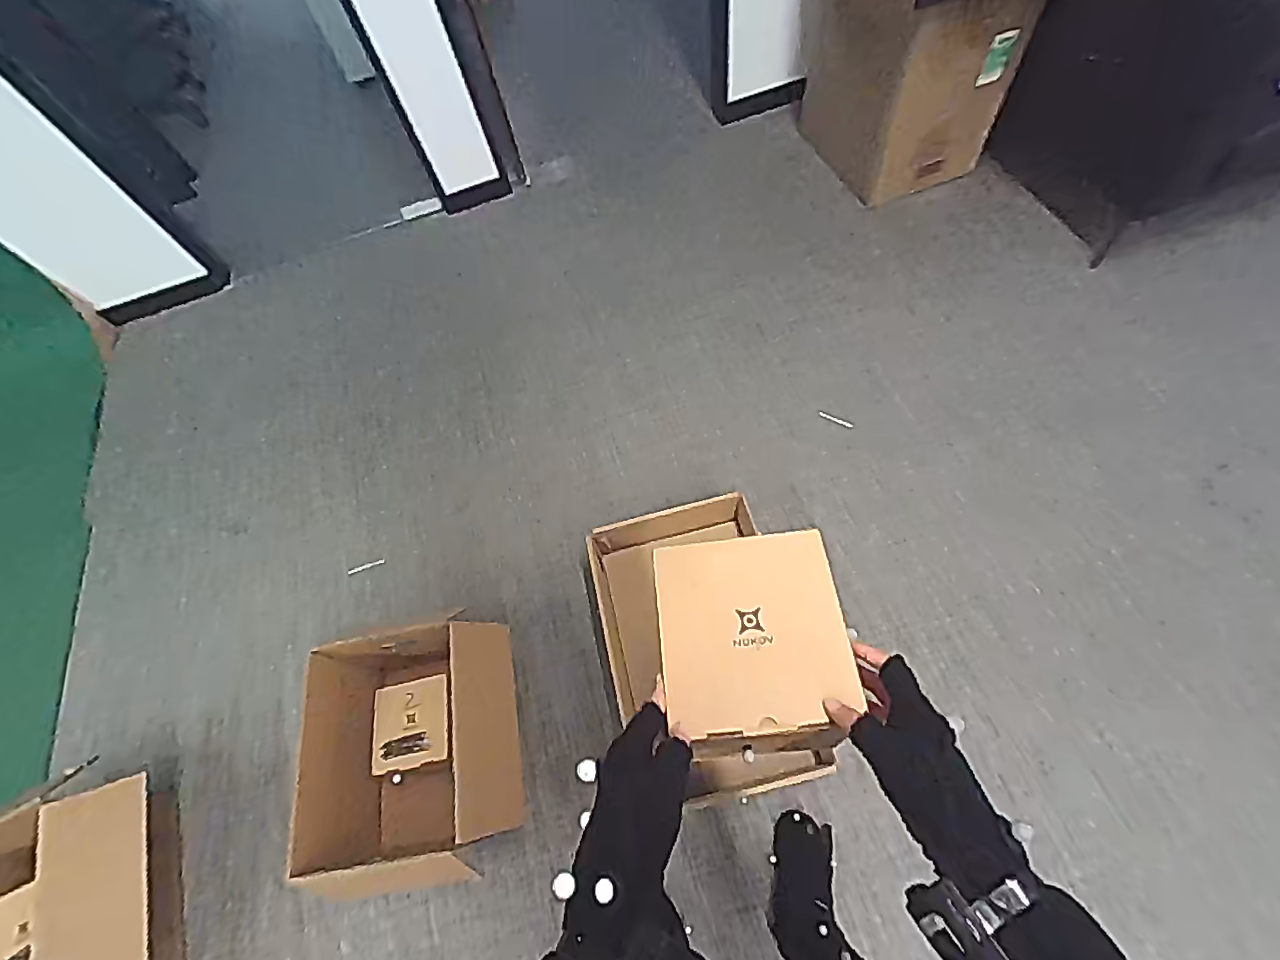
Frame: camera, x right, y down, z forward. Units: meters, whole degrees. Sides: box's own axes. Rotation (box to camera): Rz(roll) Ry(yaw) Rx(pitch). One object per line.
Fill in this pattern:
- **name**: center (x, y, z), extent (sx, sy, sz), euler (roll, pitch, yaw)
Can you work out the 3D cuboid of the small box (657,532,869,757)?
- **small box**: center (0.111, 0.175, 0.556), extent (0.168, 0.176, 0.179), euler (-8, 58, 4)
